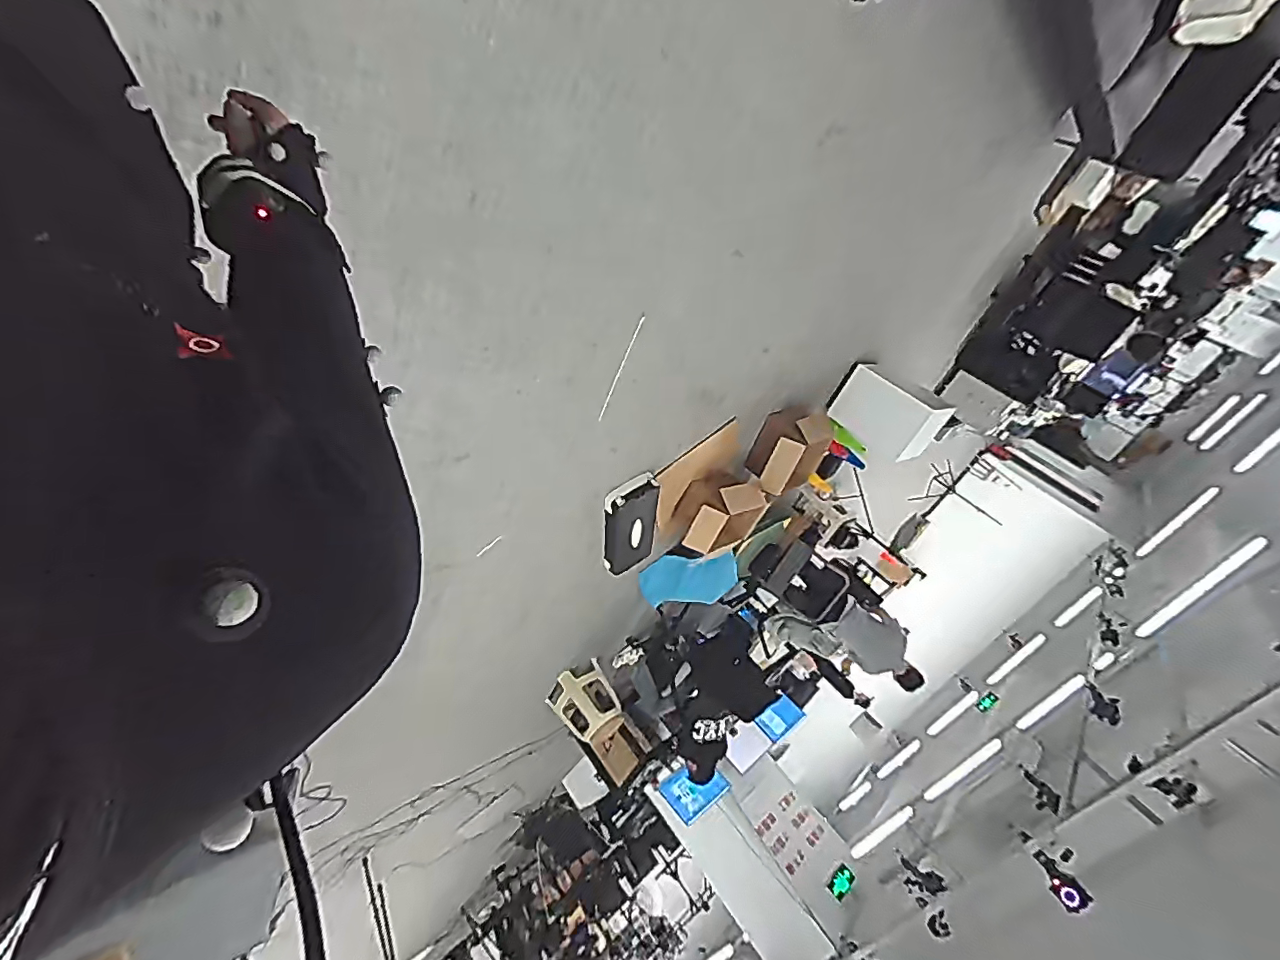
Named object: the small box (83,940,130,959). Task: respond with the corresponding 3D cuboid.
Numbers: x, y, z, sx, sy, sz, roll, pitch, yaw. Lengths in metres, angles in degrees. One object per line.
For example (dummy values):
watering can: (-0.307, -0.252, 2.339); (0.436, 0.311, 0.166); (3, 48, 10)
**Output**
small box: (-1.067, 1.031, 1.012); (0.179, 0.176, 0.168); (-13, 139, -46)
